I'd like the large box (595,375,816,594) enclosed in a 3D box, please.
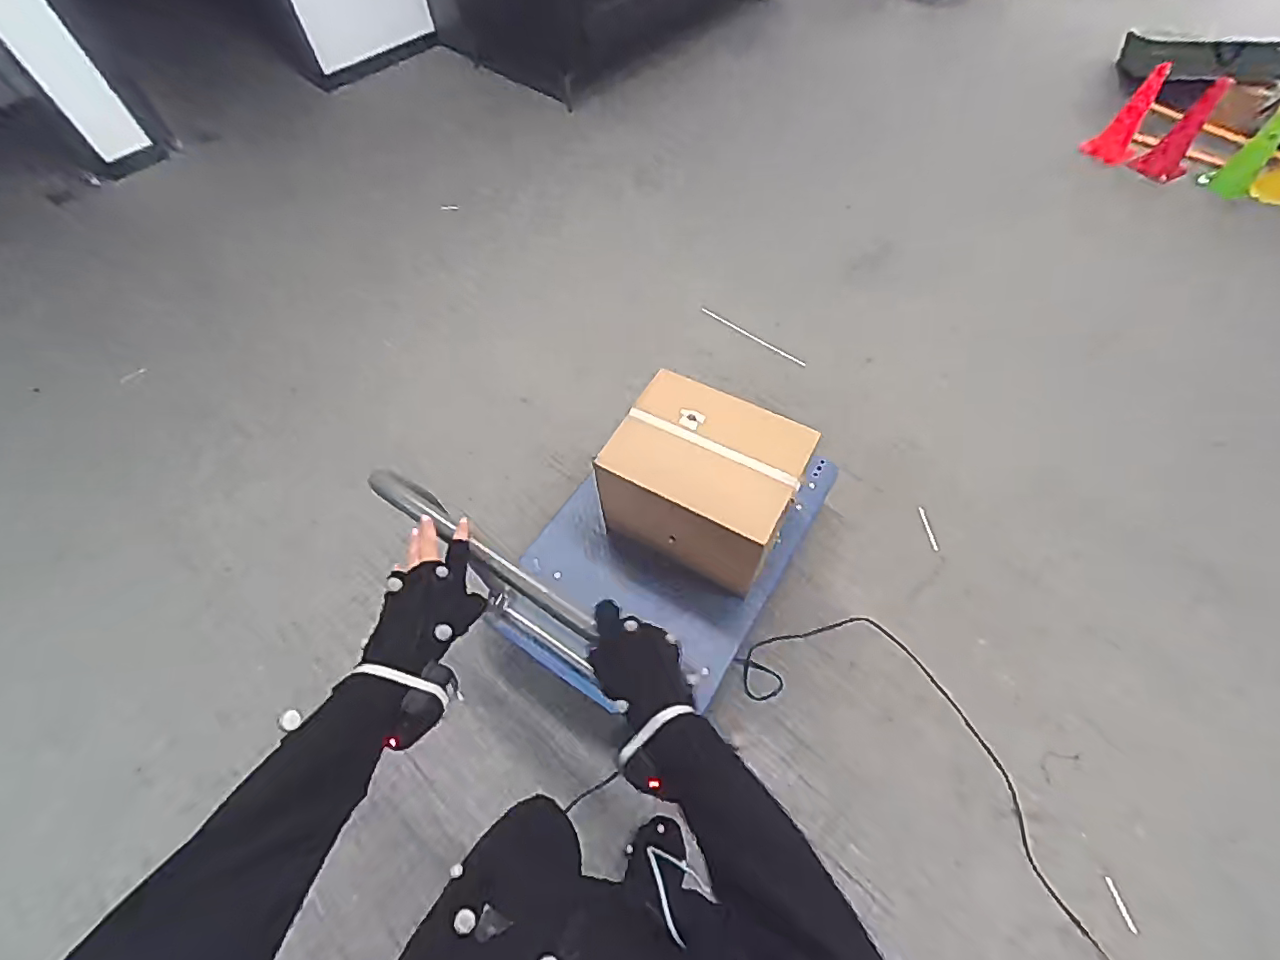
[{"bbox_3d":[0.154,0.014,1.309,0.408,0.320,0.320,26,62,18],"label":"large box"}]
